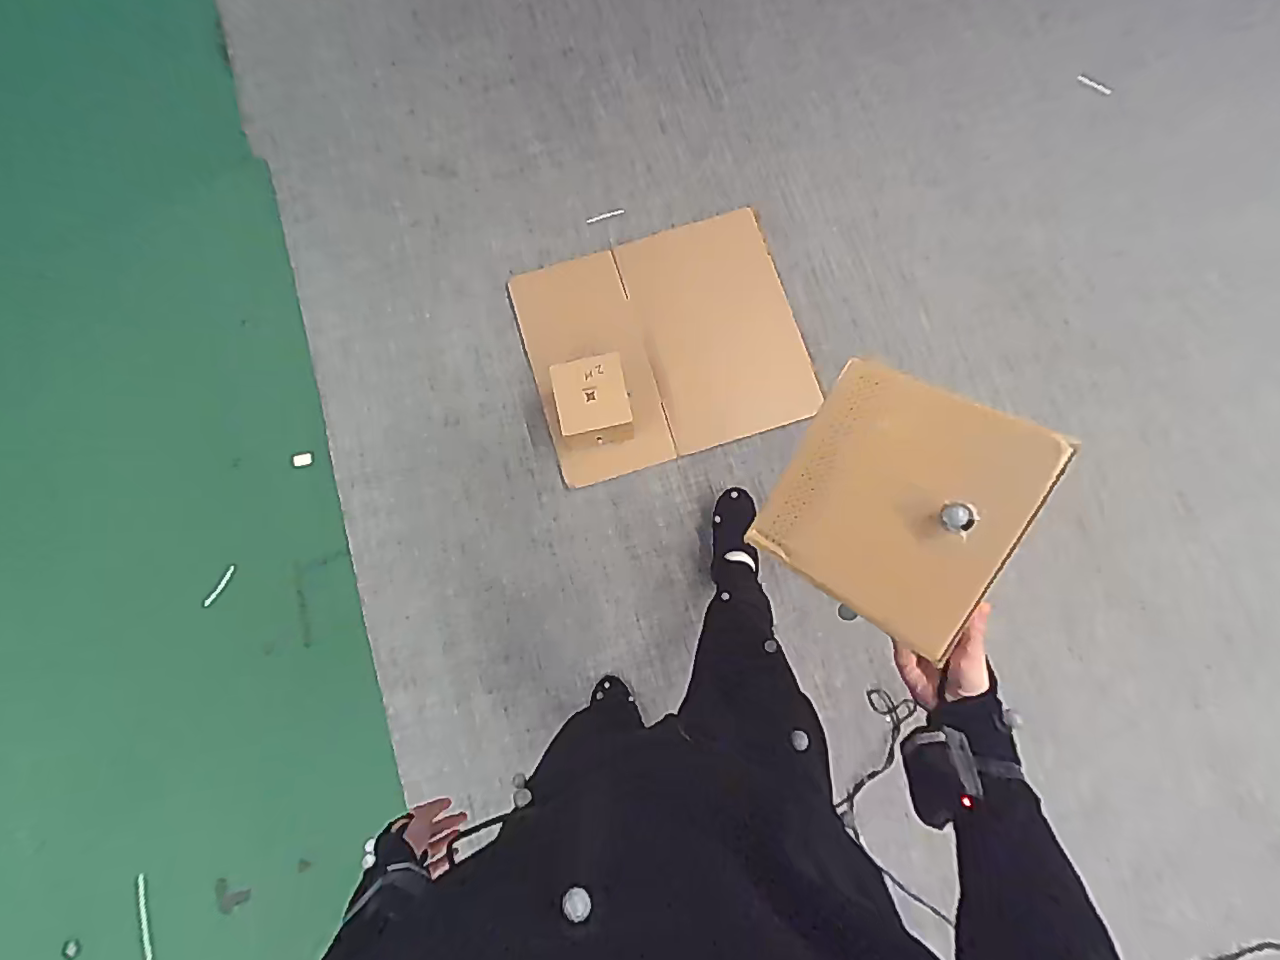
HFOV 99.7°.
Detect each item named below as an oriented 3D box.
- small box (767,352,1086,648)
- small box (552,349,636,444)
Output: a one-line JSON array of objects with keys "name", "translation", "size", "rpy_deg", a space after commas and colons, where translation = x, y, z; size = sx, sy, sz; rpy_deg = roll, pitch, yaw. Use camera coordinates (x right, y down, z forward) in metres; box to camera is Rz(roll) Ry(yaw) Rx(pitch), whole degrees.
[{"name": "small box", "translation": [0.229, 0.018, 0.466], "size": [0.176, 0.168, 0.179], "rpy_deg": [31, 96, 32]}, {"name": "small box", "translation": [-0.105, -0.192, 1.308], "size": [0.168, 0.176, 0.179], "rpy_deg": [-12, 82, -1]}]
